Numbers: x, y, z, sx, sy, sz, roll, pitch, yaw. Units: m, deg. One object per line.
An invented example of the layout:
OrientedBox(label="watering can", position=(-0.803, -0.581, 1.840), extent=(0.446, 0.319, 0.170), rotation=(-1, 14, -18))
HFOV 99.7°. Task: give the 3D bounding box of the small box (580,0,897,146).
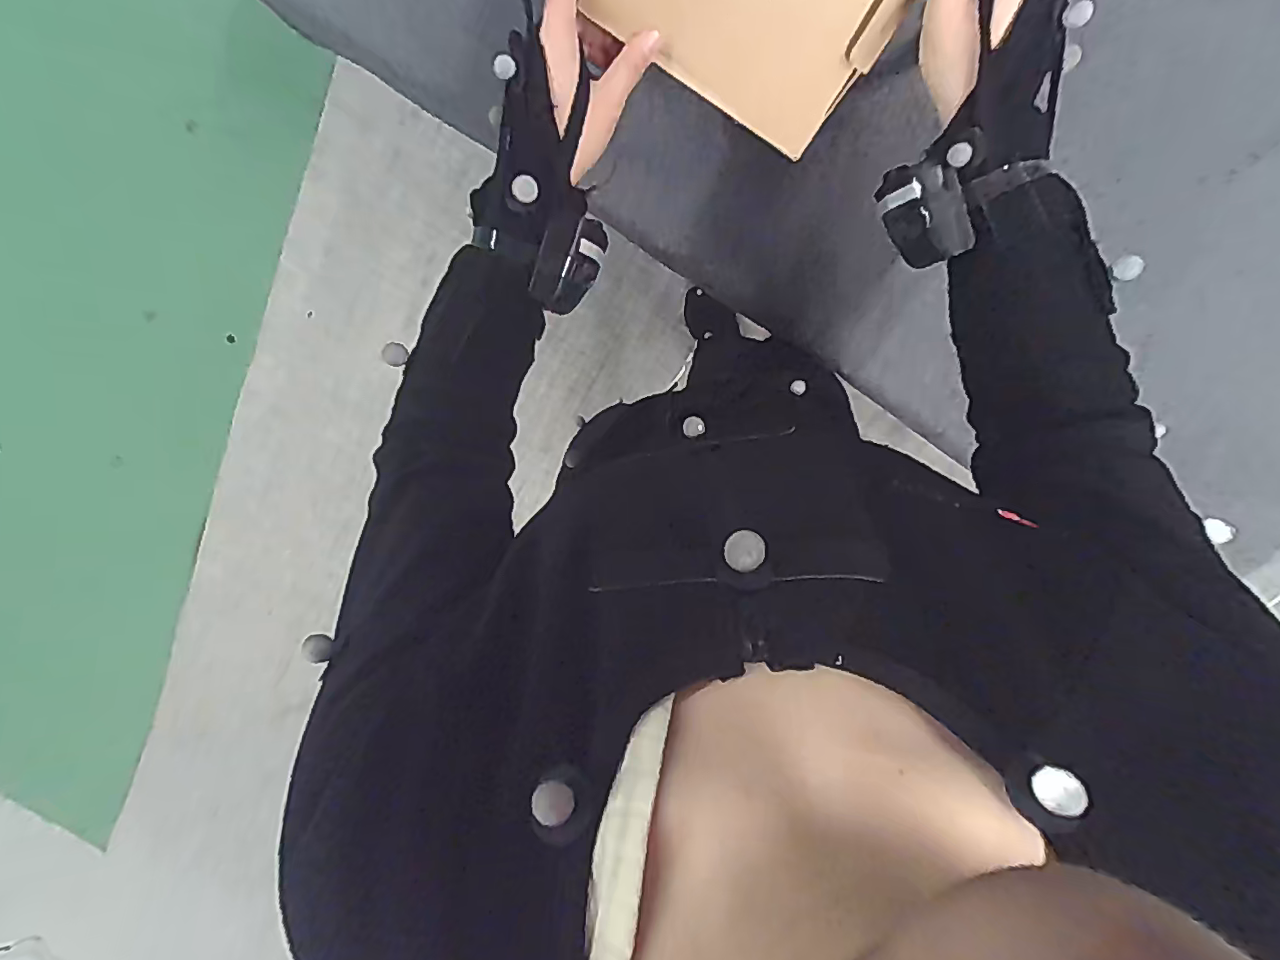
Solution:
OrientedBox(label="small box", position=(0.083, -0.369, 0.360), extent=(0.179, 0.176, 0.168), rotation=(25, 133, -13))
